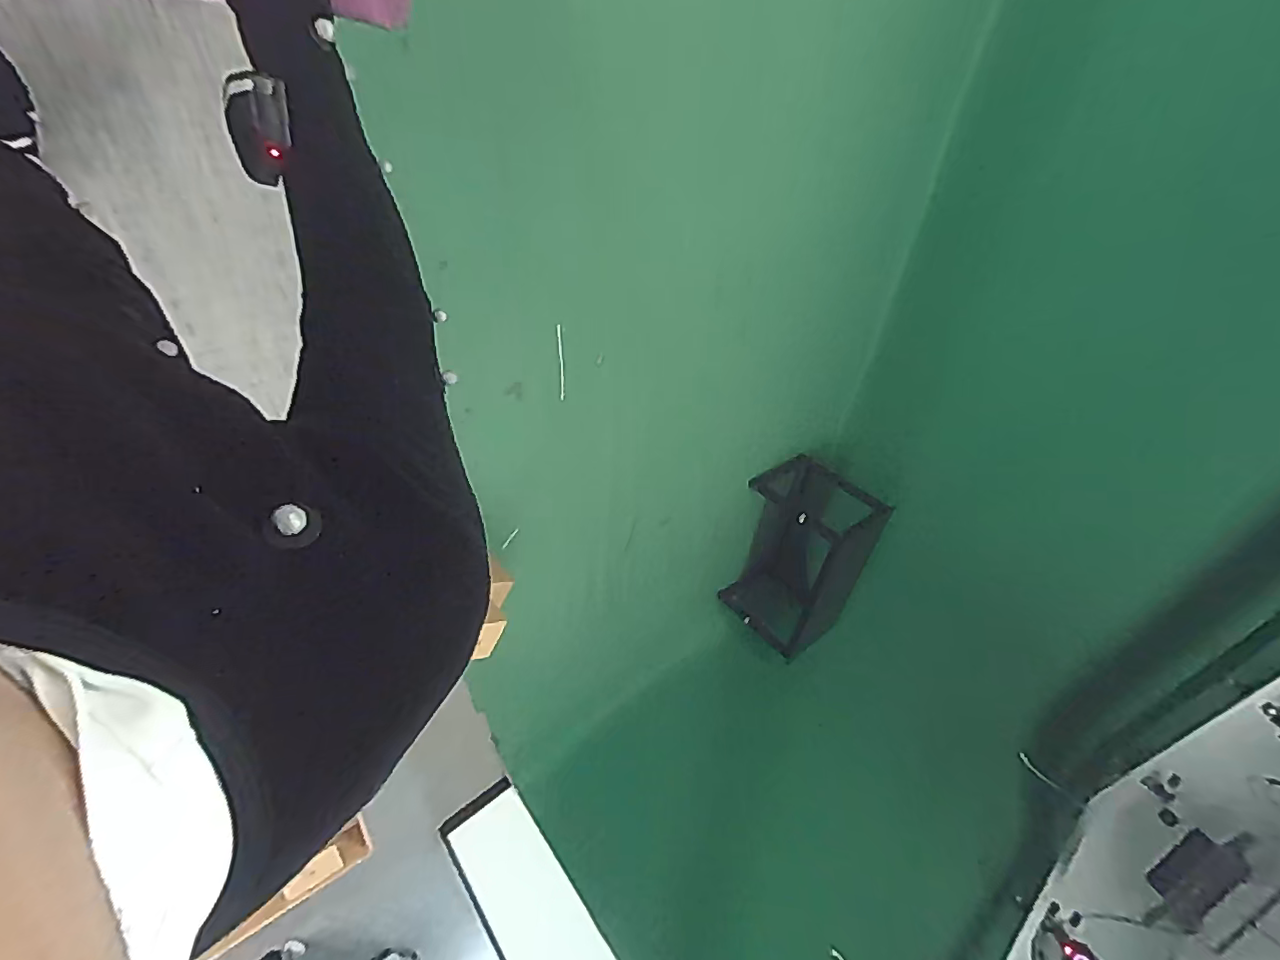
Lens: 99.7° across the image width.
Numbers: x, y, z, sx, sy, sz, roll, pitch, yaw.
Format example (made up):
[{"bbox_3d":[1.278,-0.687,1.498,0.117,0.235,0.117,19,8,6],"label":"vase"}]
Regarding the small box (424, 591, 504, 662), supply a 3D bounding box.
[{"bbox_3d":[-0.607,0.496,1.859,0.179,0.176,0.168,11,113,-51],"label":"small box"}]
